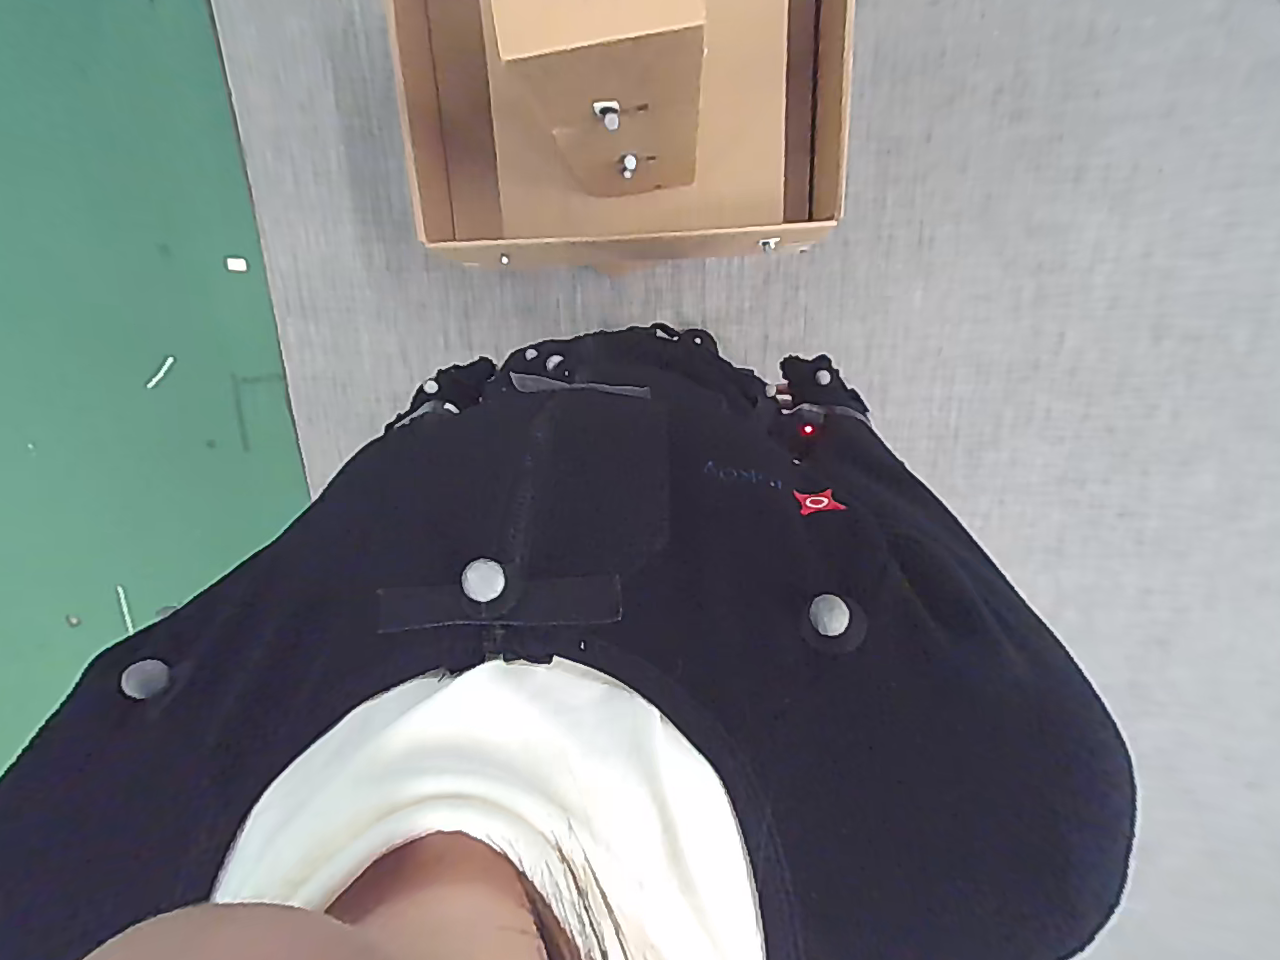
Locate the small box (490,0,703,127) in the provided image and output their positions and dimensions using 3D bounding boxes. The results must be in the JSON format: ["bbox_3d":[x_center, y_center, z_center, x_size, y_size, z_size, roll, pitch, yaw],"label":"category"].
[{"bbox_3d":[-0.035,-0.448,0.477,0.168,0.176,0.179,-5,106,7],"label":"small box"}]

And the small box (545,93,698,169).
[{"bbox_3d":[-0.024,-0.492,0.632,0.168,0.176,0.179,-5,106,6],"label":"small box"}]

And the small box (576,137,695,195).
[{"bbox_3d":[-0.010,-0.541,0.788,0.168,0.176,0.179,-5,104,7],"label":"small box"}]
